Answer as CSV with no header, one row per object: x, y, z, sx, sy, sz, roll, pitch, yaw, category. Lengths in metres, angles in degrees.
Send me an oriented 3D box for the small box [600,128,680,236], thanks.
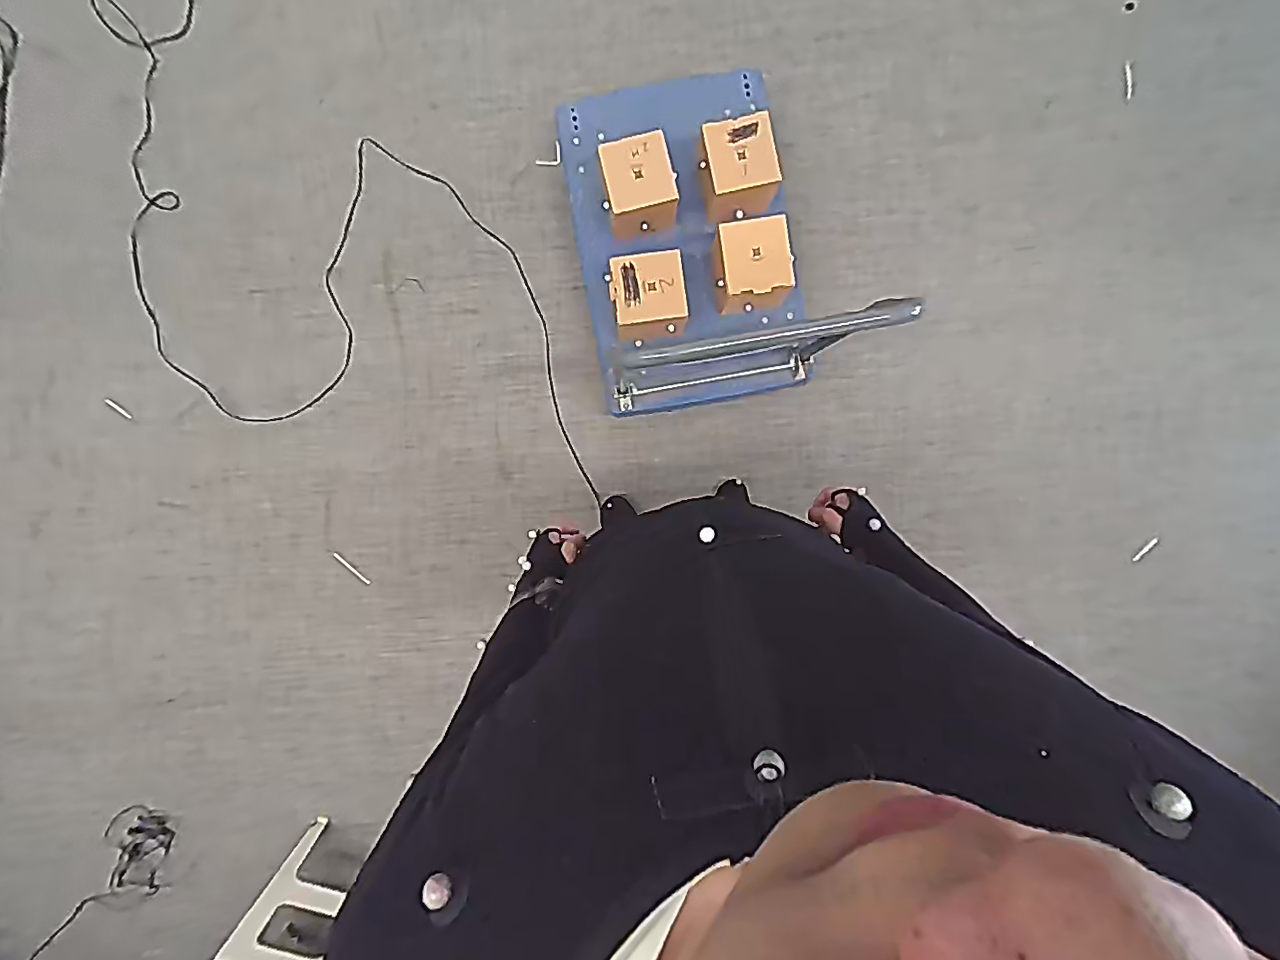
0.001,-0.748,1.383,0.168,0.176,0.179,-13,90,0,small box

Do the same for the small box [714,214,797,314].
0.288,-0.546,1.382,0.168,0.176,0.179,-8,89,1,small box

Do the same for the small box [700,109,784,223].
0.253,-0.792,1.379,0.168,0.176,0.179,-11,91,1,small box
